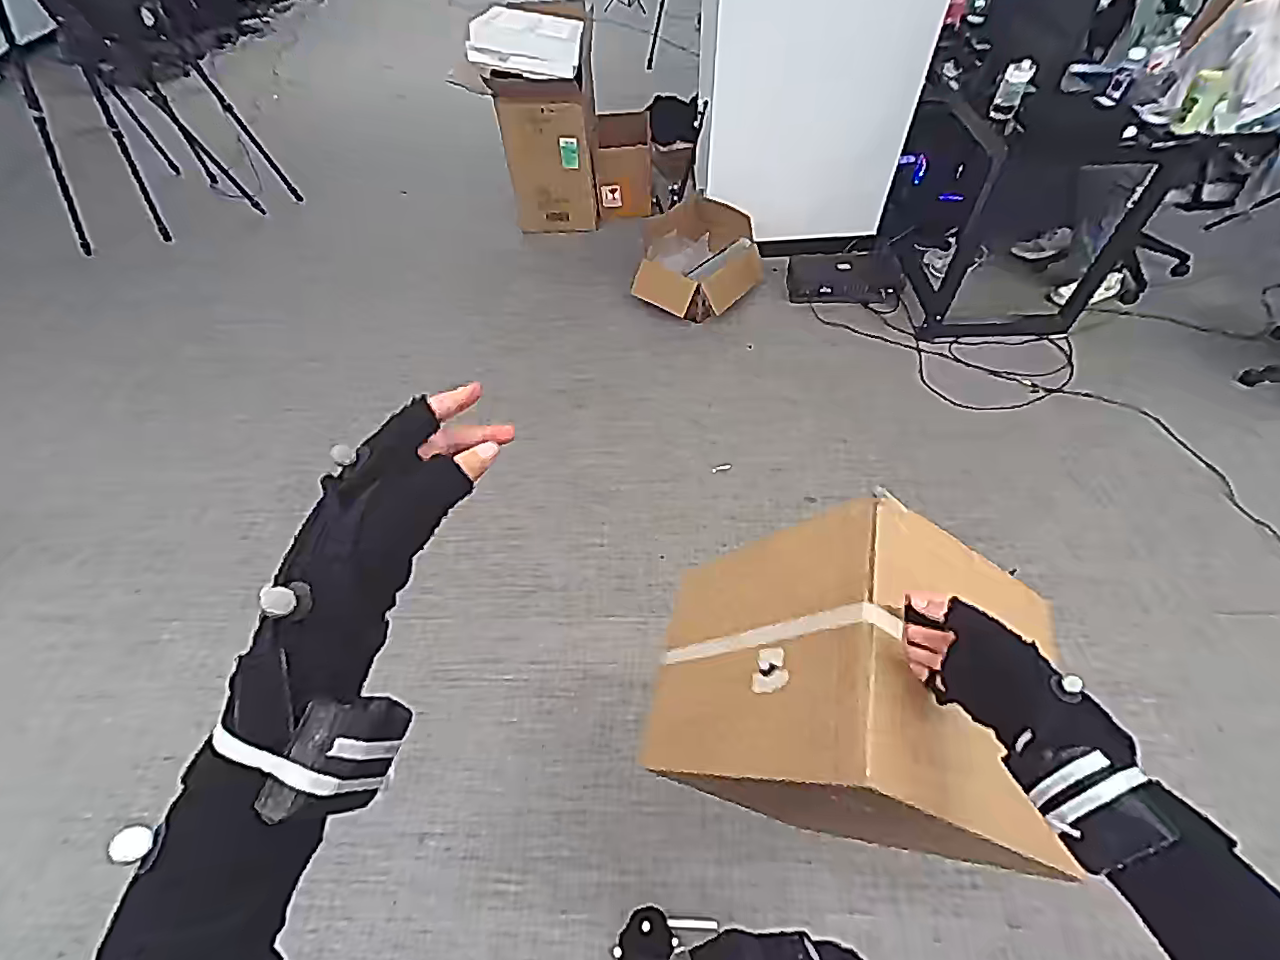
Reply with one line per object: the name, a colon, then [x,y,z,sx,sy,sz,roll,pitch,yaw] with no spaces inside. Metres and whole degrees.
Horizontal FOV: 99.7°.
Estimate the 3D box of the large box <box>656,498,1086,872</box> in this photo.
large box: [0.281,0.287,0.746,0.320,0.408,0.320,28,56,-16]
